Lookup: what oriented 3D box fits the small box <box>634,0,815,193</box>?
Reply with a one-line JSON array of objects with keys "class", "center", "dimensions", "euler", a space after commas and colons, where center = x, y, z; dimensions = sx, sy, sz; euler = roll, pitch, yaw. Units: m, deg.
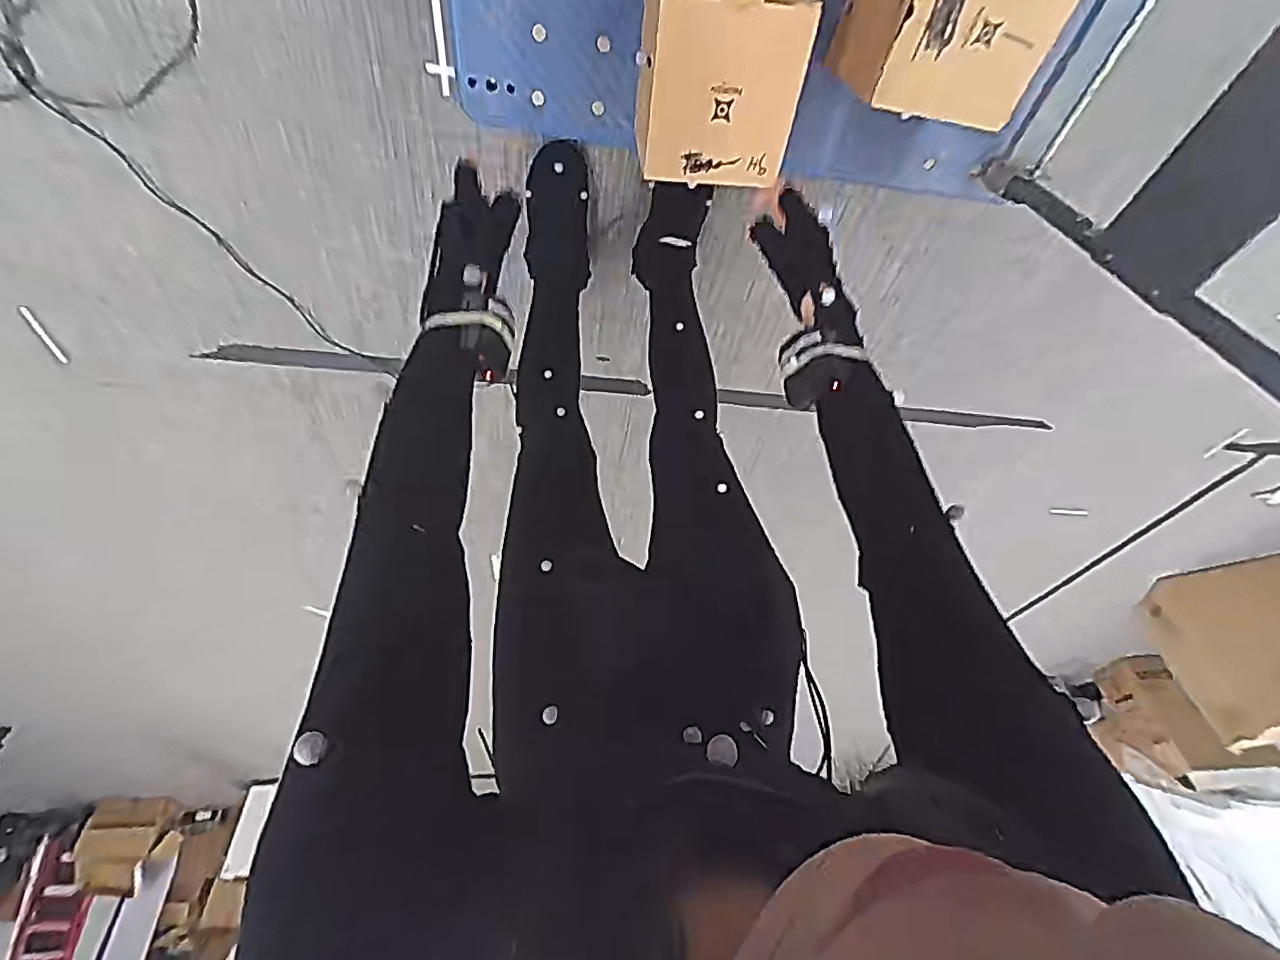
[{"class": "small box", "center": [0.084, -0.475, 0.653], "dimensions": [0.168, 0.176, 0.179], "euler": [1, 138, -7]}]

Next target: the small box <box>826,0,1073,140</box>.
[{"class": "small box", "center": [0.342, -0.525, 0.621], "dimensions": [0.179, 0.176, 0.168], "euler": [4, 139, -12]}]
